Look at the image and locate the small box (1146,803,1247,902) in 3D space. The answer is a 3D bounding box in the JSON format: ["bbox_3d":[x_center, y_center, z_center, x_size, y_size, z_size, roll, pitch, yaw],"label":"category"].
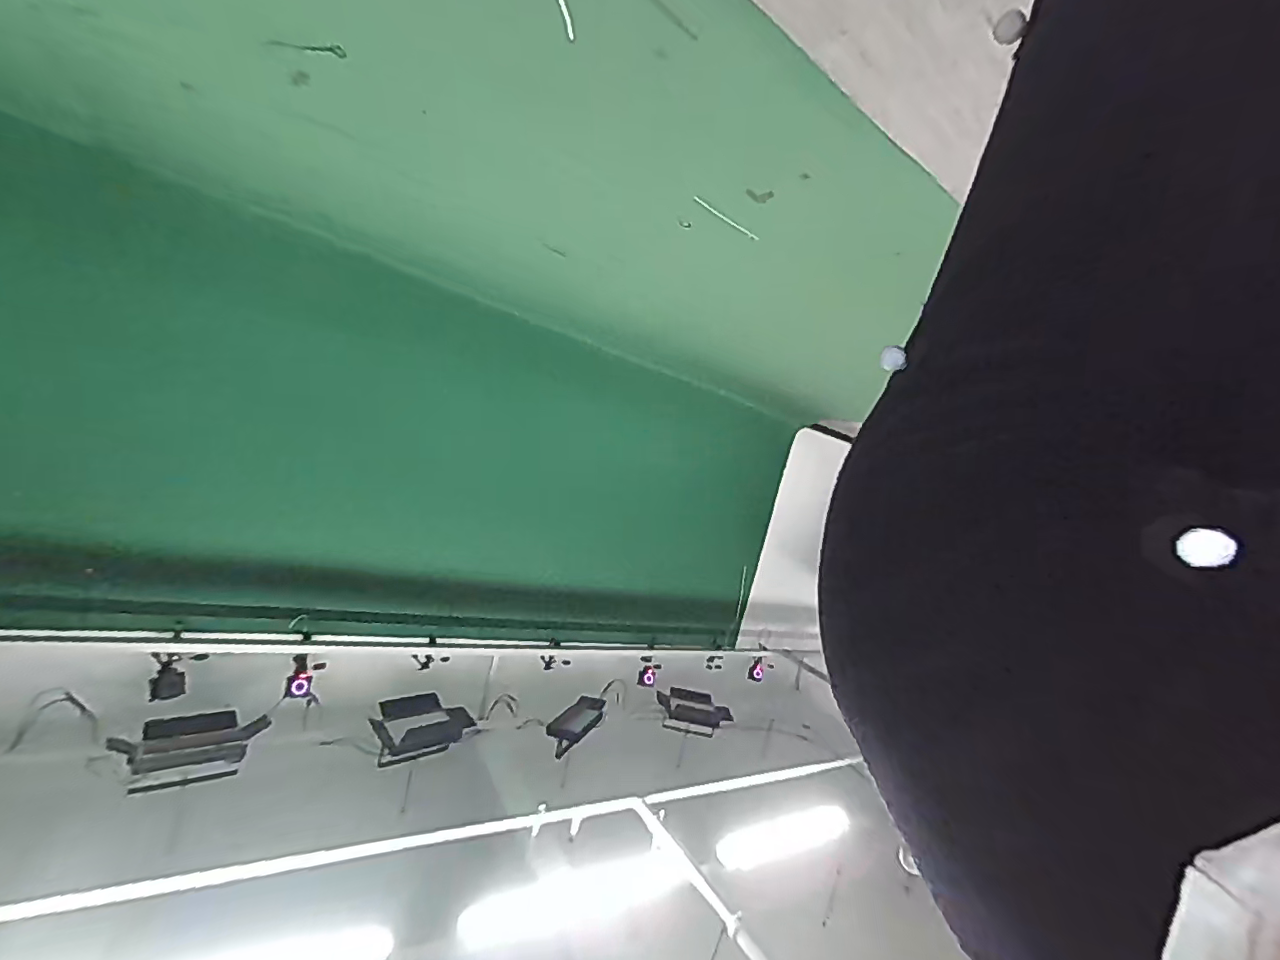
[{"bbox_3d":[1.663,1.100,1.613,0.179,0.176,0.168,13,-178,-35],"label":"small box"}]

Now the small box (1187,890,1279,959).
[{"bbox_3d":[1.690,1.279,1.521,0.179,0.176,0.168,13,-178,-36],"label":"small box"}]
